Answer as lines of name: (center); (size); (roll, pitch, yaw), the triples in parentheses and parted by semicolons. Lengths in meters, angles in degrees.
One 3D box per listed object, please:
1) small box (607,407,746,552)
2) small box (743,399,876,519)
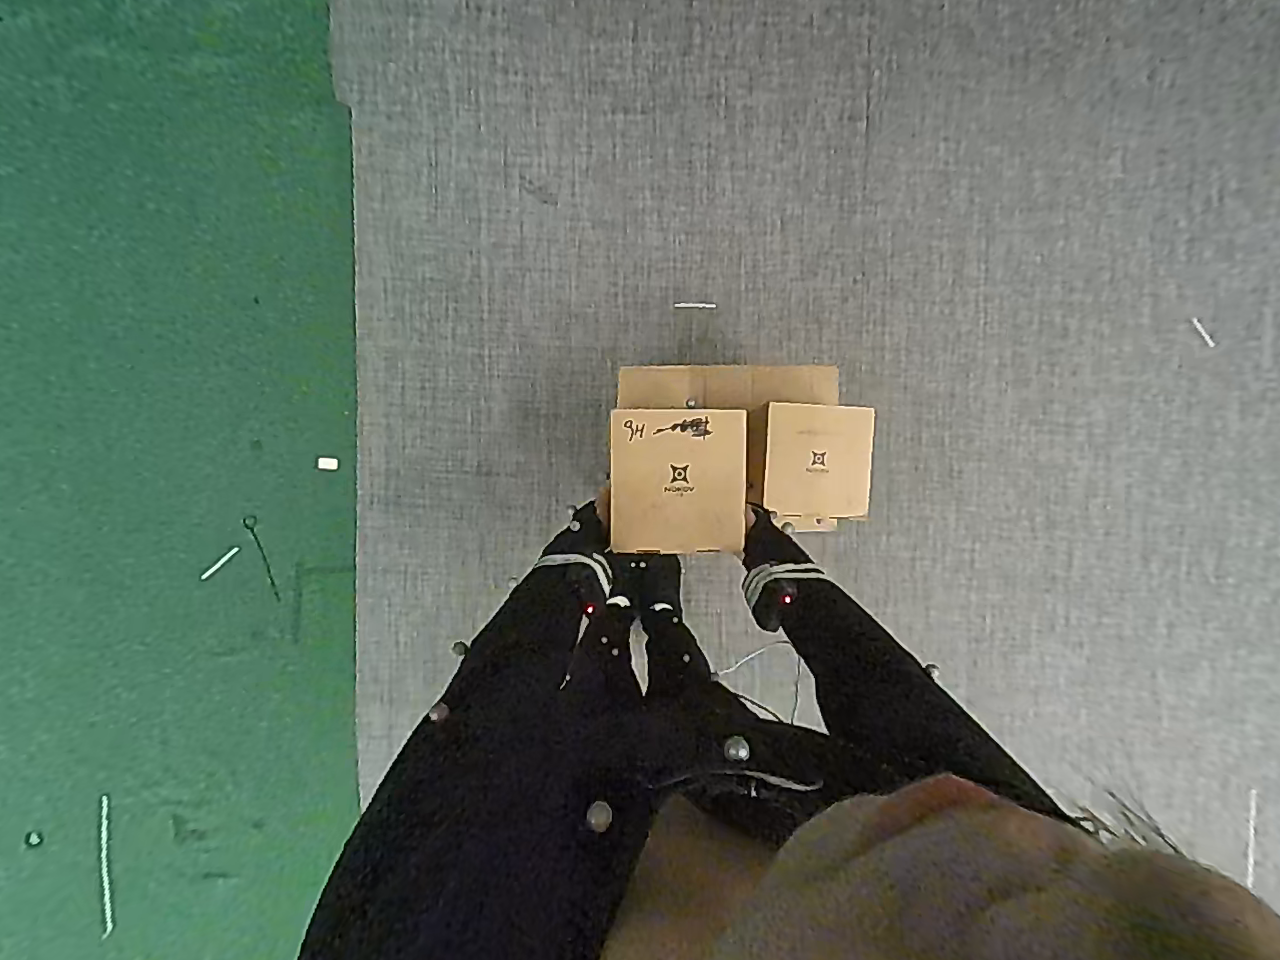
small box: (0.041, -0.007, 0.729); (0.168, 0.176, 0.179); (0, 95, -3)
small box: (0.269, -0.035, 0.899); (0.168, 0.176, 0.179); (3, 91, -2)
